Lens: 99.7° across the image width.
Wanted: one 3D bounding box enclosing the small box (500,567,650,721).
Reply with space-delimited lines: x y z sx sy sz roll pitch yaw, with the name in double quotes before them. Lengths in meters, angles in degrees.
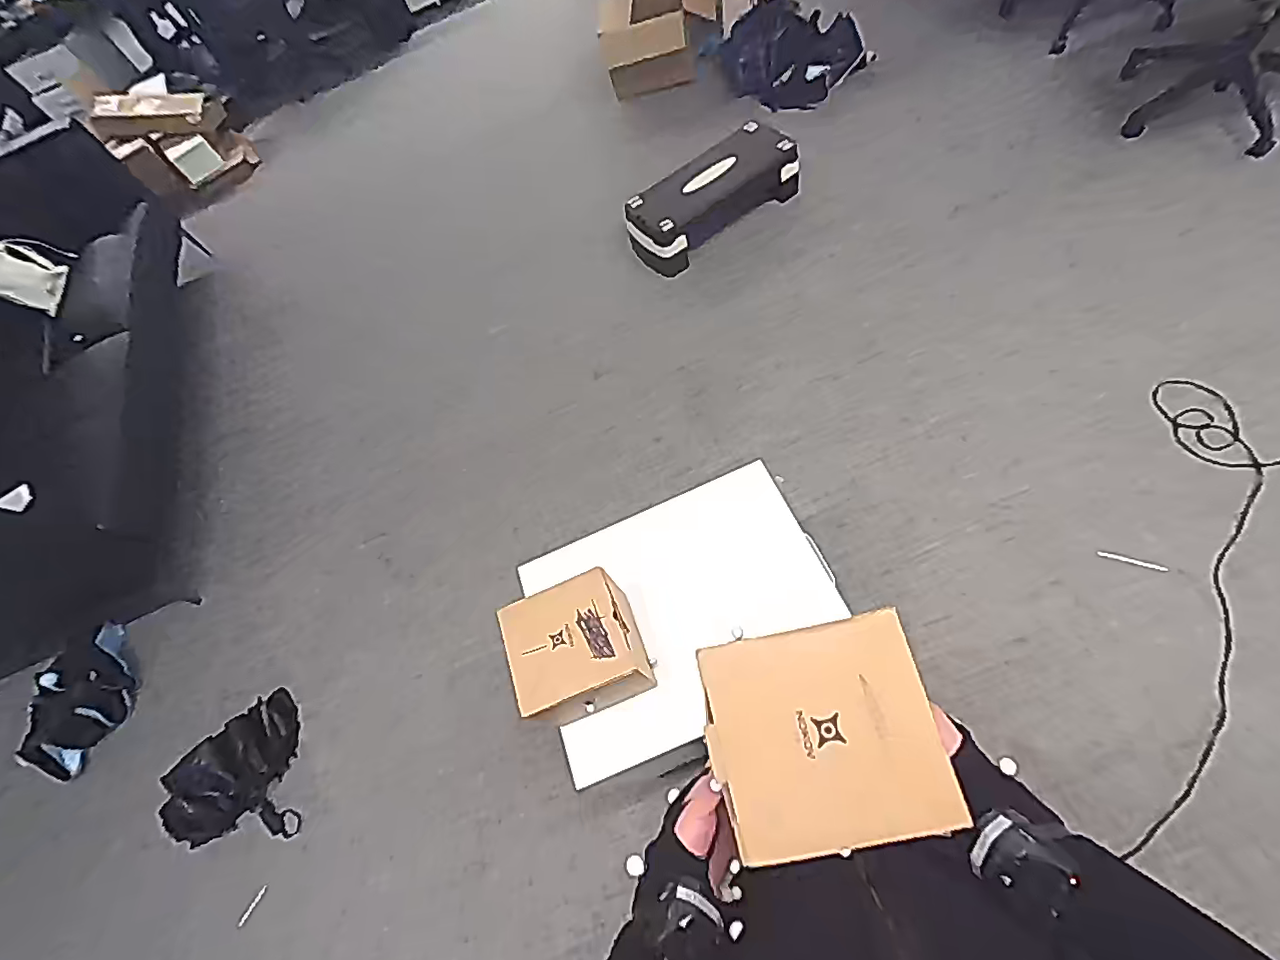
"small box" -0.093 0.264 0.851 0.179 0.176 0.168 -23 60 1
